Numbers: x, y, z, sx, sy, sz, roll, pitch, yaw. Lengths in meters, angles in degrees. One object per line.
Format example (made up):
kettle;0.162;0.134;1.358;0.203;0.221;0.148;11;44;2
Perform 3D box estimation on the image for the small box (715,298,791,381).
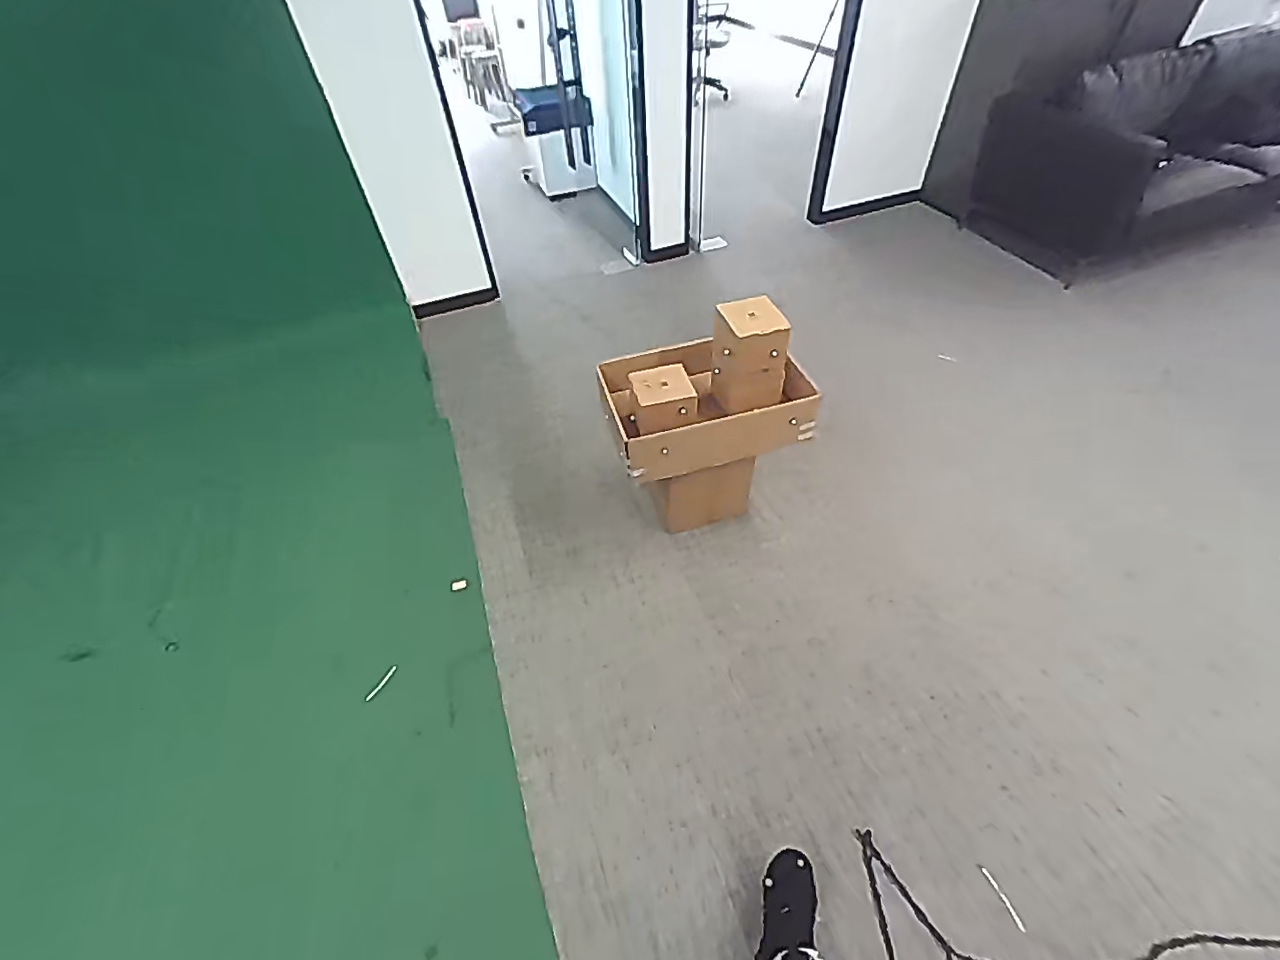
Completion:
small box;0.331;-0.414;1.615;0.168;0.176;0.179;-13;49;-9
